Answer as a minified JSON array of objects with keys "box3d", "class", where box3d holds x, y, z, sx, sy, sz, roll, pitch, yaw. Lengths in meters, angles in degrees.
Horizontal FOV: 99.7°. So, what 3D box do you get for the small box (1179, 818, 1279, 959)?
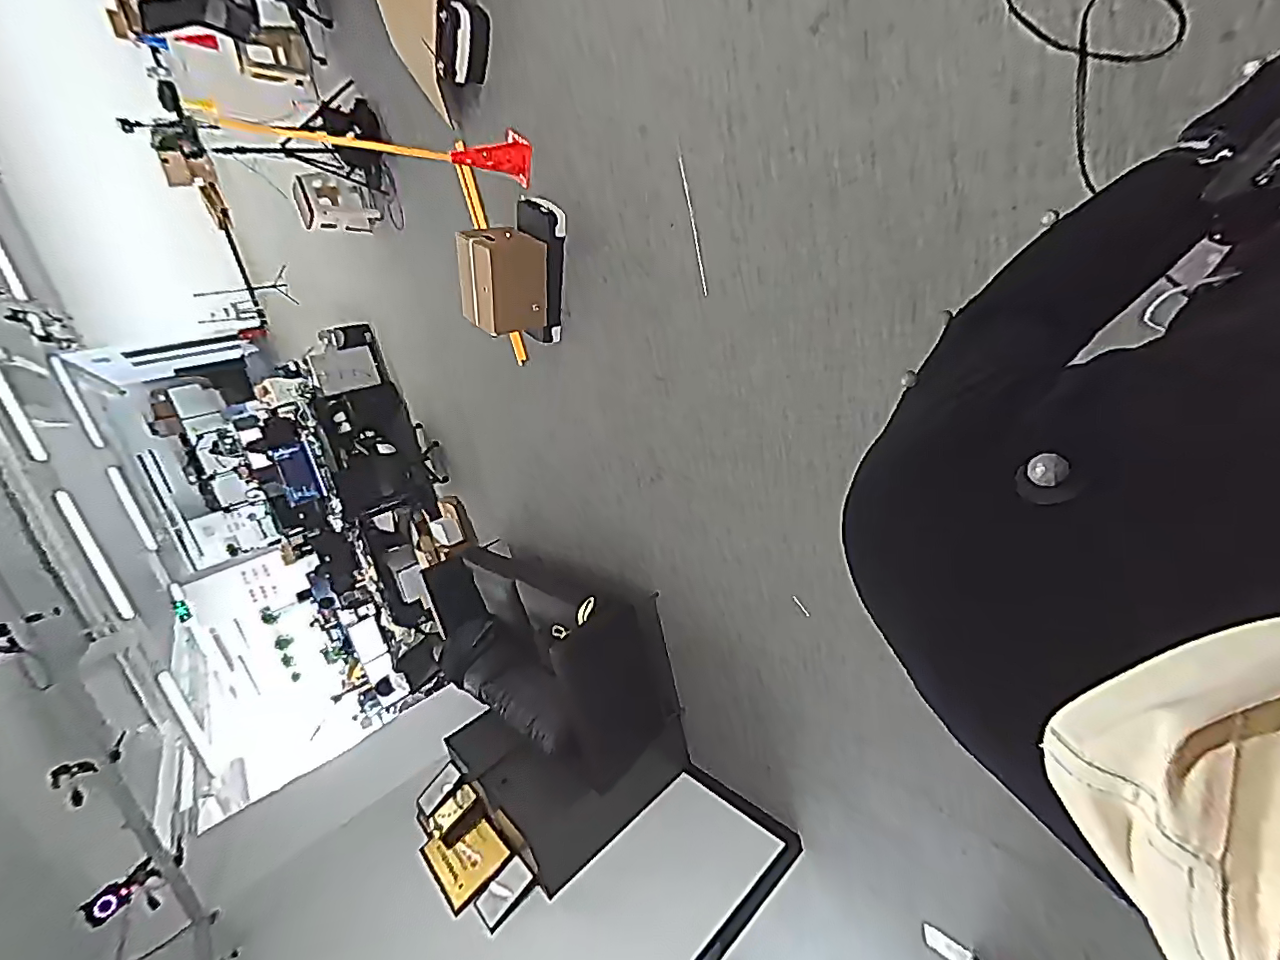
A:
[{"box3d":[0.968,0.670,0.825,0.179,0.176,0.168,12,118,50],"class":"small box"}]
